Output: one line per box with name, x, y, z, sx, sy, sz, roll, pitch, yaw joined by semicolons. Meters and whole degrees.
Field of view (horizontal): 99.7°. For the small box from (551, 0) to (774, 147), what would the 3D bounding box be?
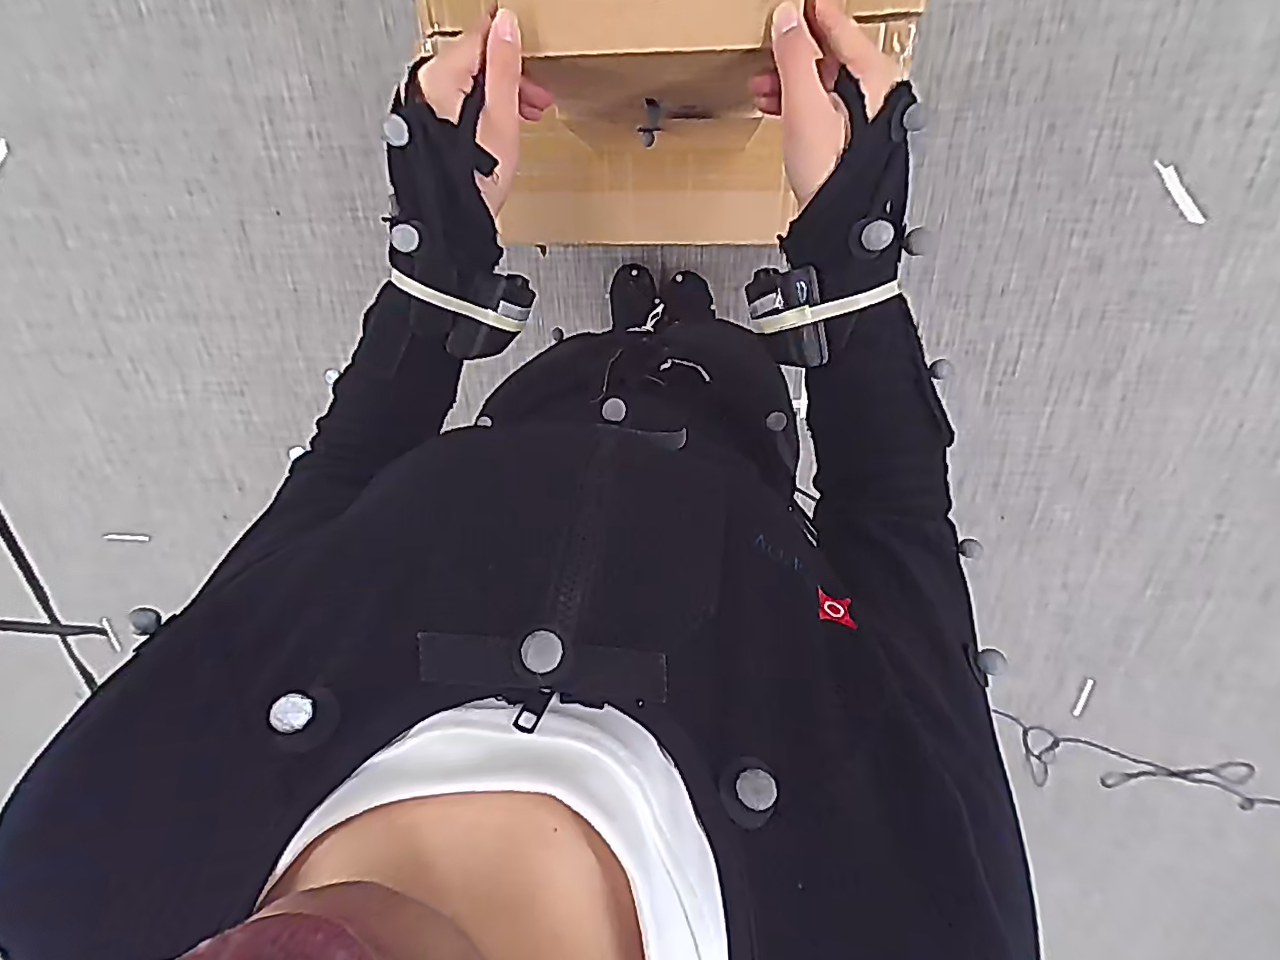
small box;0.023;-0.408;0.487;0.179;0.176;0.168;2;114;4
